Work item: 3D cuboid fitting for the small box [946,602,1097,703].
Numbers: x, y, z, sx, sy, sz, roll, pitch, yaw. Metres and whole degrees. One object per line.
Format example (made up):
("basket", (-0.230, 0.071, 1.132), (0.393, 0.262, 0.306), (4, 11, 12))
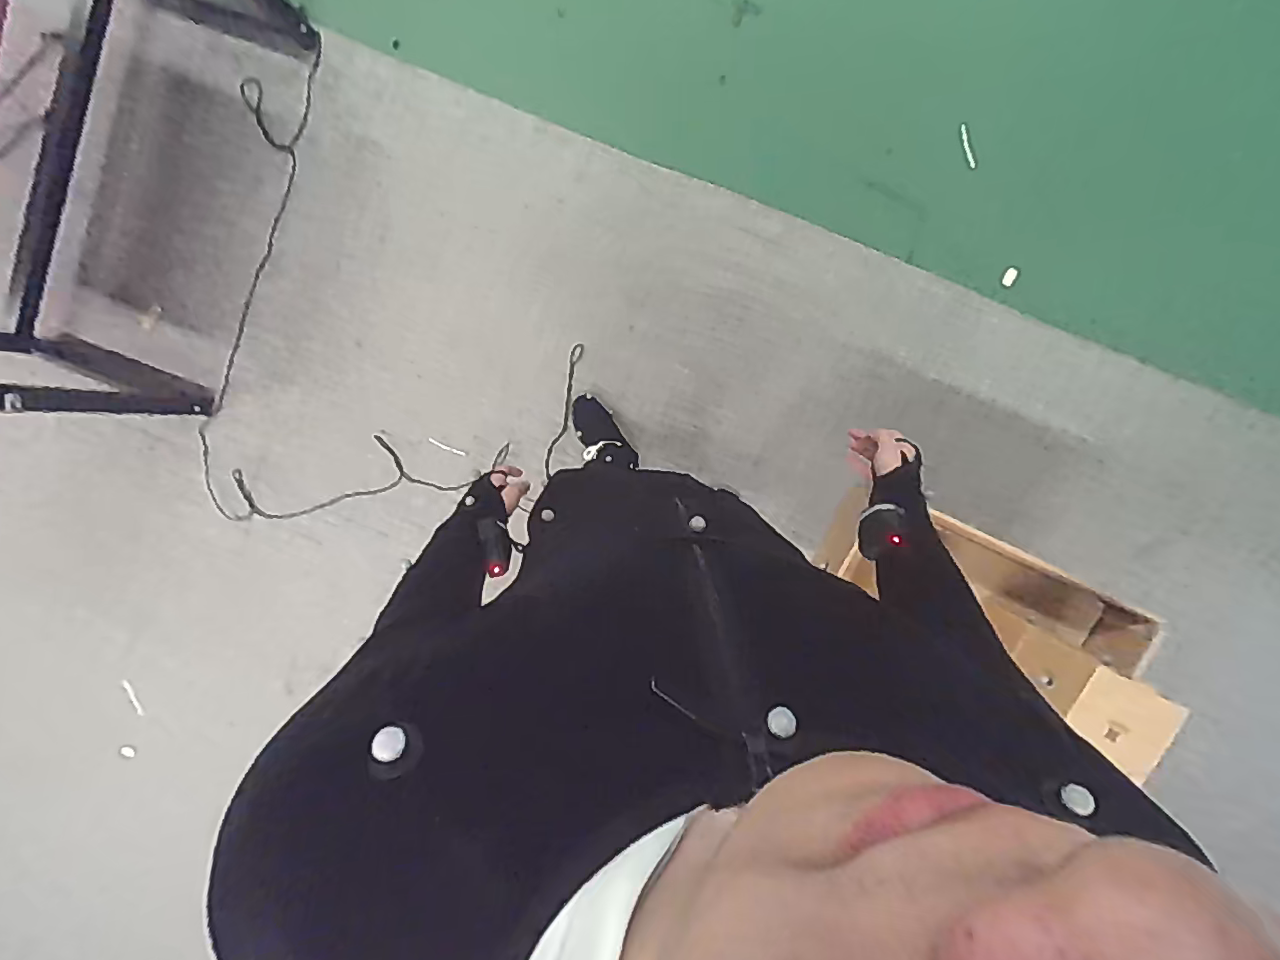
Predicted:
("small box", (0.784, 0.383, 1.129), (0.168, 0.176, 0.179), (28, 97, 0))

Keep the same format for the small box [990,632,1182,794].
("small box", (0.777, 0.402, 0.966), (0.168, 0.176, 0.179), (27, 95, 1))
